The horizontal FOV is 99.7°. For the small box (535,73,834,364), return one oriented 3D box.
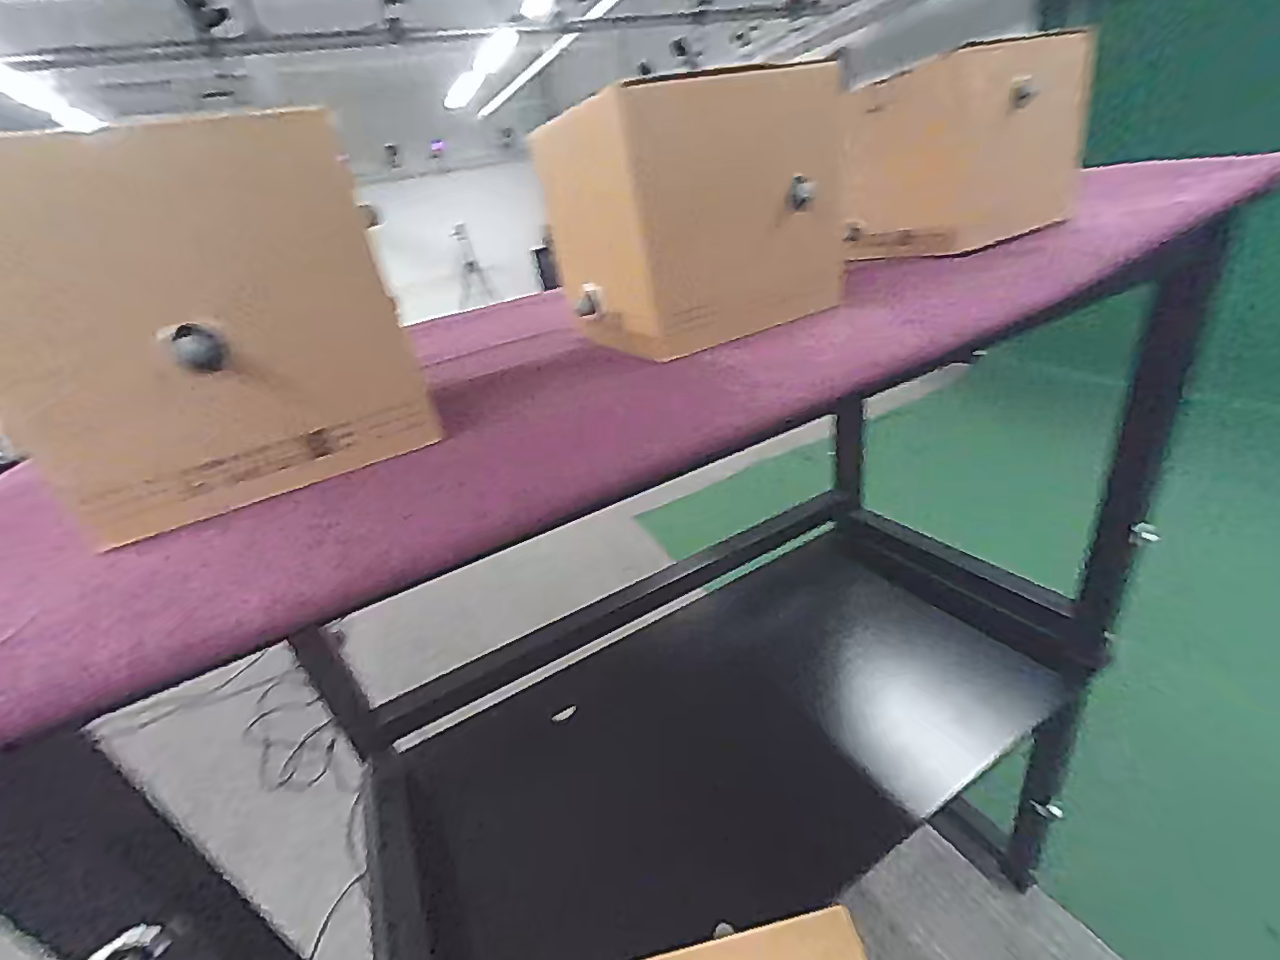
[{"bbox_3d":[0.037,-0.209,0.450,0.179,0.176,0.168,-23,29,-22],"label":"small box"}]

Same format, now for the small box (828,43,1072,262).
[{"bbox_3d":[0.326,-0.341,0.594,0.179,0.176,0.168,-21,26,-20],"label":"small box"}]

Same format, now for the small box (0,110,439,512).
[{"bbox_3d":[-0.237,-0.098,0.324,0.168,0.176,0.179,-21,29,-23],"label":"small box"}]
